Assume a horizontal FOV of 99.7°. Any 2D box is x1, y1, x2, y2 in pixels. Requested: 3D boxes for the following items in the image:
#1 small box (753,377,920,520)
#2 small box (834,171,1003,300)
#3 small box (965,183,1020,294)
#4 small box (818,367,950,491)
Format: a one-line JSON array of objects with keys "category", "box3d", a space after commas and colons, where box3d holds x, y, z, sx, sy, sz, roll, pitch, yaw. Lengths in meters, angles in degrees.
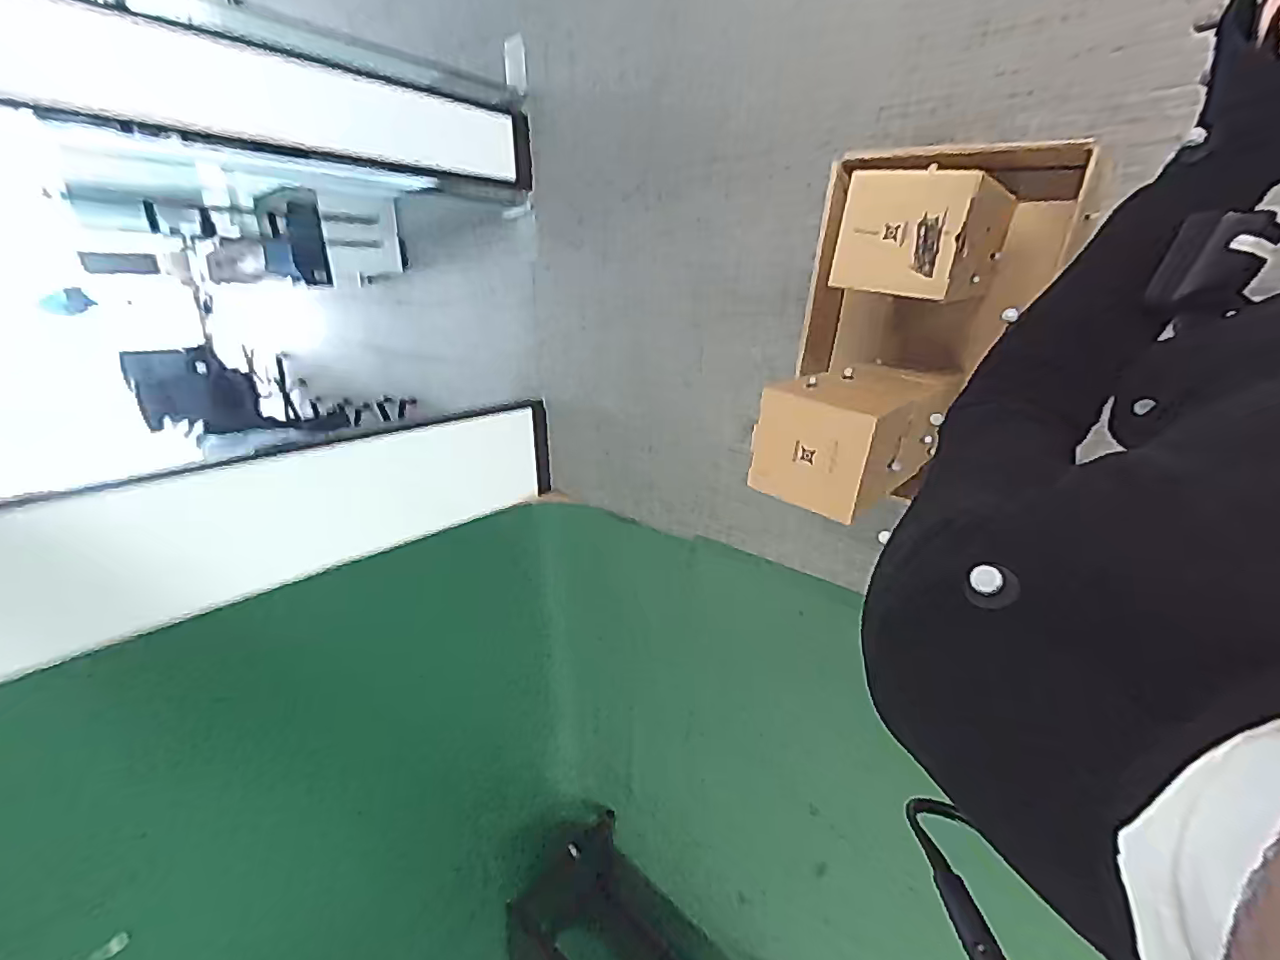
[{"category": "small box", "box3d": [0.308, -0.061, 0.853, 0.179, 0.176, 0.168, 24, 121, 37]}, {"category": "small box", "box3d": [0.438, -0.382, 0.849, 0.179, 0.176, 0.168, 24, 119, 36]}, {"category": "small box", "box3d": [0.544, -0.426, 0.967, 0.179, 0.176, 0.168, 22, 119, 37]}, {"category": "small box", "box3d": [0.418, -0.101, 0.967, 0.179, 0.176, 0.168, 25, 121, 36]}]
